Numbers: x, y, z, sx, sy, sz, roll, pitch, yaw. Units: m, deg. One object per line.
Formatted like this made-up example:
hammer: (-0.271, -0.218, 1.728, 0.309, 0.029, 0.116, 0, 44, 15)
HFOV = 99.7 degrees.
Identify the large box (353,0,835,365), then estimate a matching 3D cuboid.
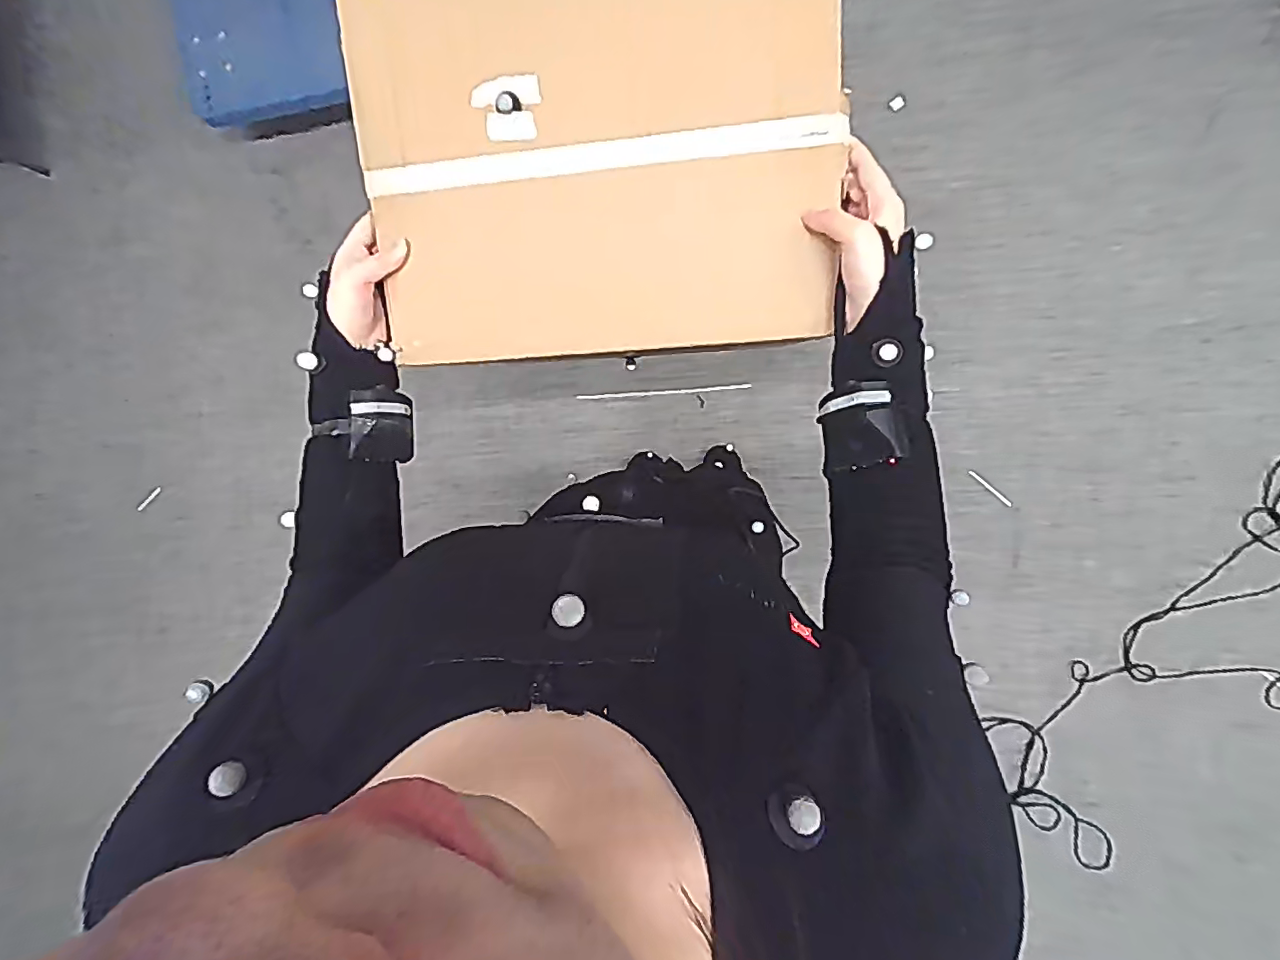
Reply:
large box: (-0.019, -0.308, 0.610, 0.408, 0.320, 0.320, -3, 102, 8)
